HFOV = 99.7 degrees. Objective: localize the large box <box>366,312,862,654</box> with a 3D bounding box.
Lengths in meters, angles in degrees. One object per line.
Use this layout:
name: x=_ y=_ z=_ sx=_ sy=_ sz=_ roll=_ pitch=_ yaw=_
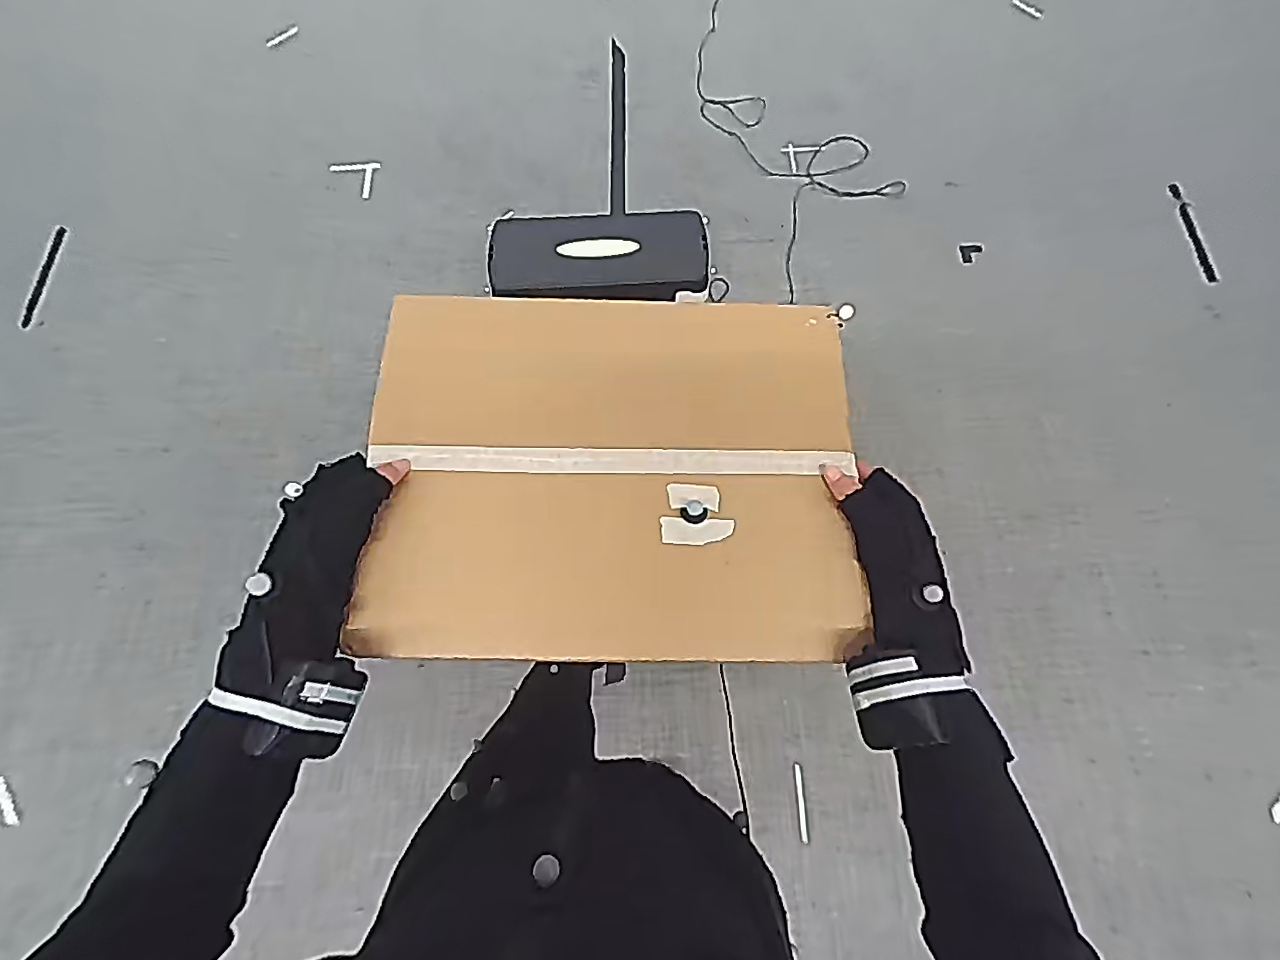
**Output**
large box: x=-0.024 y=0.032 z=0.614 sx=0.408 sy=0.320 sz=0.320 roll=1 pitch=73 yaw=-1
